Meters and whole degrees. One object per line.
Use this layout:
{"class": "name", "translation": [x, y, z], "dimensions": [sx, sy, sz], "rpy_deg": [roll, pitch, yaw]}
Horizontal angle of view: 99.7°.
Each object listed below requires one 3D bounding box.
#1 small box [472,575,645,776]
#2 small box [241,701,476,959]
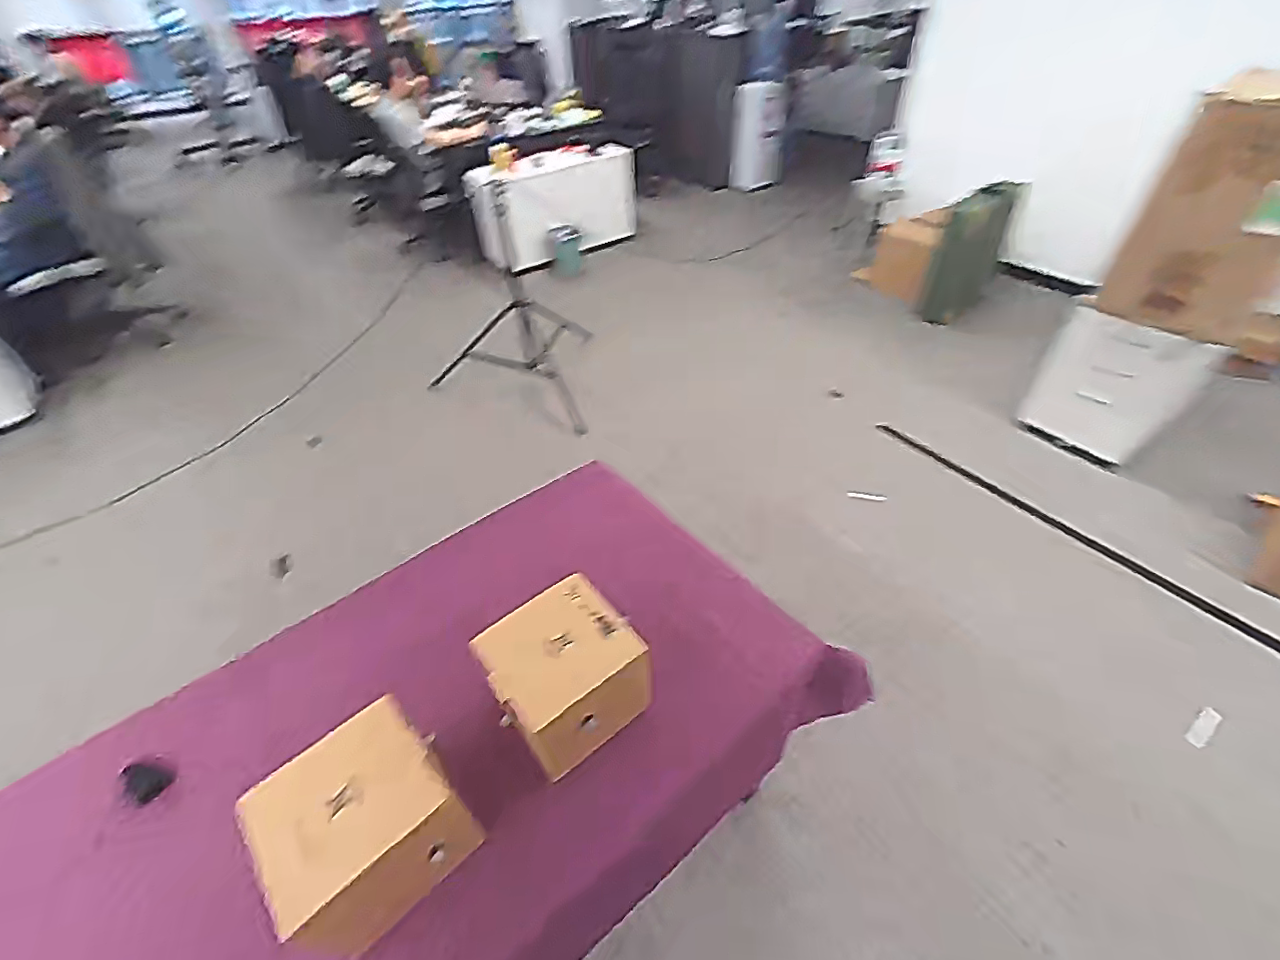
{"class": "small box", "translation": [-0.106, 0.279, 0.769], "dimensions": [0.179, 0.176, 0.168], "rpy_deg": [-32, 50, -26]}
{"class": "small box", "translation": [-0.315, 0.412, 0.642], "dimensions": [0.179, 0.176, 0.168], "rpy_deg": [-36, 50, -29]}
